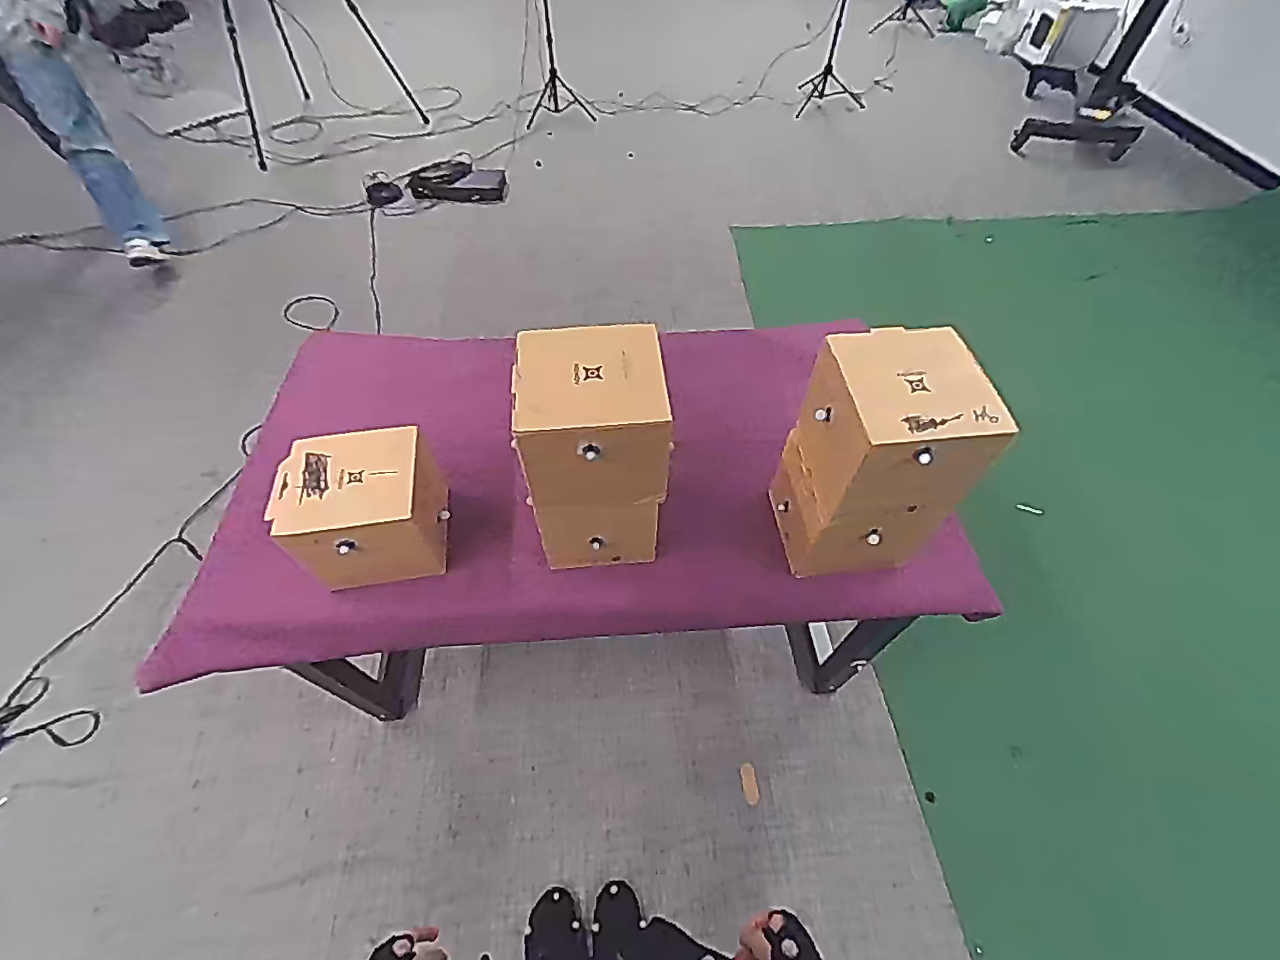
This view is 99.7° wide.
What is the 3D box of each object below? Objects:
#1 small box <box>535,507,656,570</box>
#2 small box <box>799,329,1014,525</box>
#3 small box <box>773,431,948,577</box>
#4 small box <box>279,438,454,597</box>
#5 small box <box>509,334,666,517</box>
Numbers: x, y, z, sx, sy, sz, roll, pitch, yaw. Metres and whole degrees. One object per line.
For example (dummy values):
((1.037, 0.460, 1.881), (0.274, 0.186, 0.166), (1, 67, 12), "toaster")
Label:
((-0.063, 0.028, 0.832), (0.168, 0.176, 0.179), (-4, 53, -2), "small box")
((0.315, -0.064, 0.688), (0.168, 0.176, 0.179), (-7, 54, -1), "small box")
((0.317, 0.033, 0.821), (0.179, 0.176, 0.168), (-7, 55, -2), "small box")
((-0.395, 0.061, 0.816), (0.179, 0.176, 0.168), (-8, 54, -6), "small box")
((-0.060, -0.065, 0.698), (0.179, 0.176, 0.168), (-5, 54, -3), "small box")
